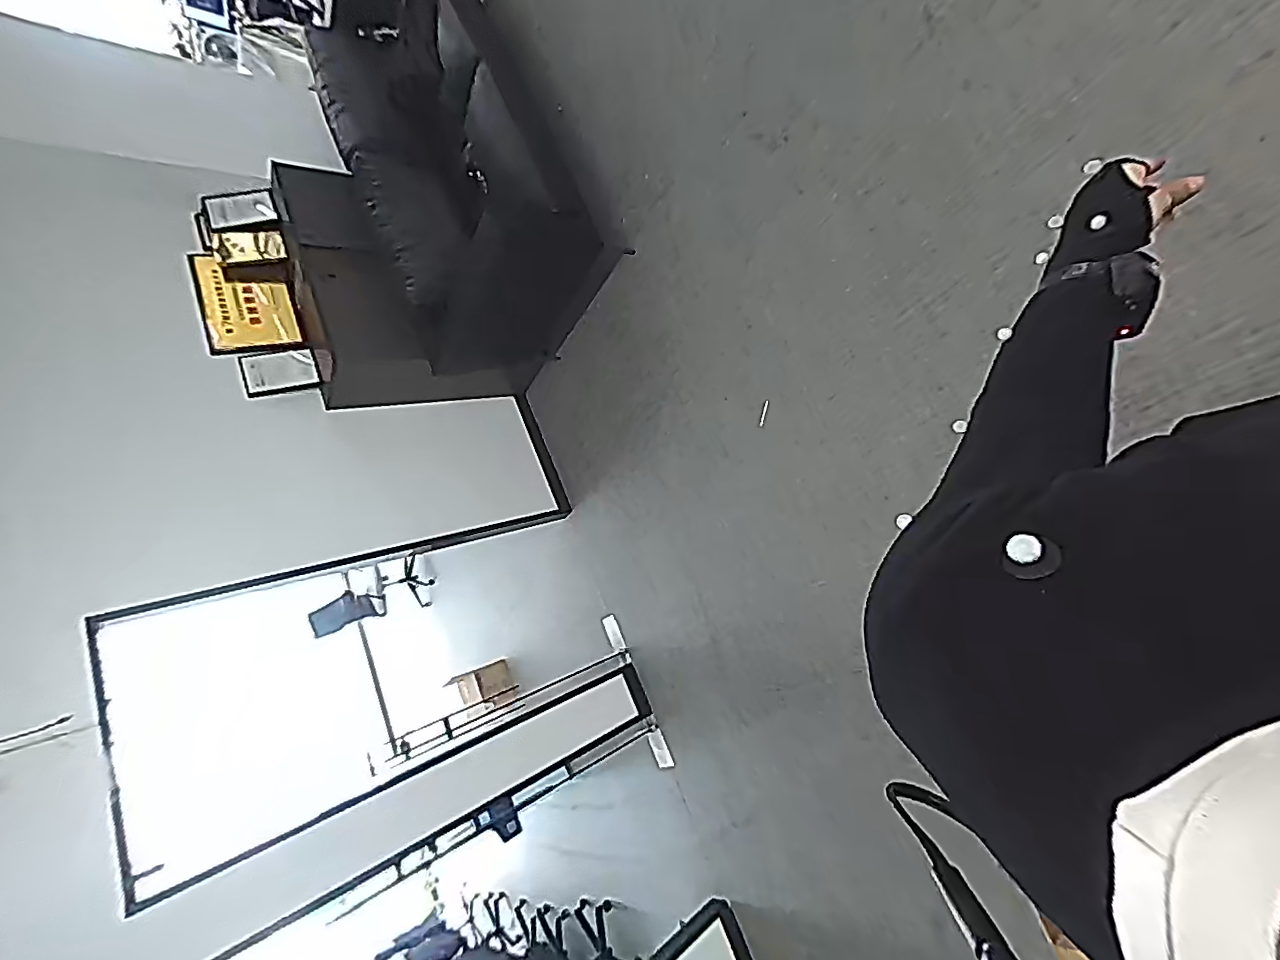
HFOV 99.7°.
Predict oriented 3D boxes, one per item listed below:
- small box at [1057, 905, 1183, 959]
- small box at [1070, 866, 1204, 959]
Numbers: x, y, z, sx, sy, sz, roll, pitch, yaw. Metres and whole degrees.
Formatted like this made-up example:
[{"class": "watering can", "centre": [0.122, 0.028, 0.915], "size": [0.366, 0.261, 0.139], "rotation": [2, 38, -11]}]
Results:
[{"class": "small box", "centre": [1.040, 1.054, 1.149], "size": [0.168, 0.176, 0.179], "rotation": [-38, 68, 48]}, {"class": "small box", "centre": [1.161, 1.039, 1.260], "size": [0.179, 0.176, 0.168], "rotation": [-38, 69, 48]}]
